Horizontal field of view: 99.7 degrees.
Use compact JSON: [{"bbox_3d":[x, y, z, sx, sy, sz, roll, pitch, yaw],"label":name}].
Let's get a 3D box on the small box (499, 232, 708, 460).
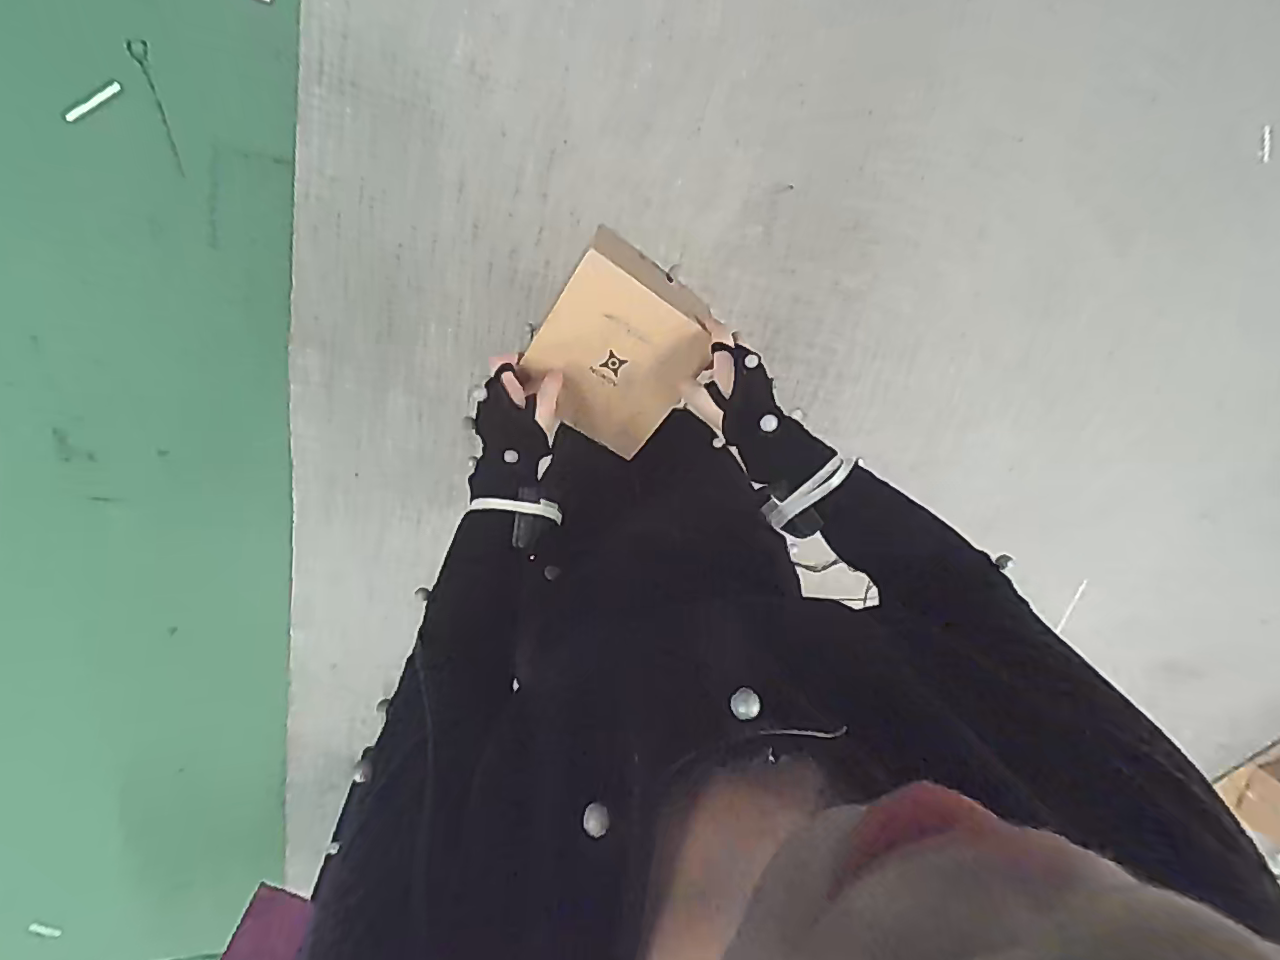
[{"bbox_3d":[-0.040,-0.164,0.646,0.168,0.176,0.179,31,117,-19],"label":"small box"}]
